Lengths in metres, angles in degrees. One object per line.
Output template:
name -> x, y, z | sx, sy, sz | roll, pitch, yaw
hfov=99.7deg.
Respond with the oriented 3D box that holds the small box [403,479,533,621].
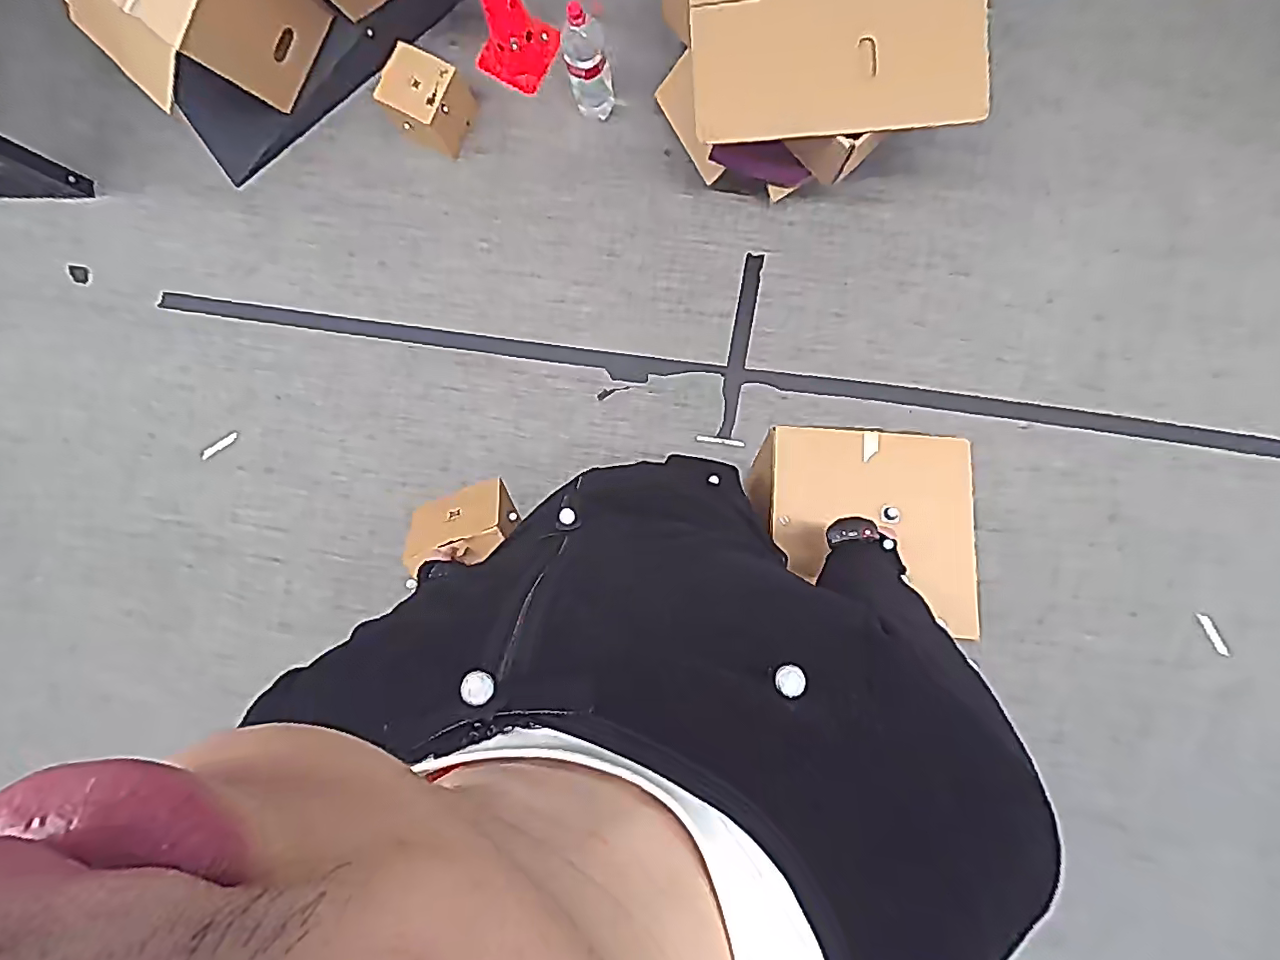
small box -> -0.301, 0.132, 0.985 | 0.168, 0.179, 0.176 | -19, 122, -2
